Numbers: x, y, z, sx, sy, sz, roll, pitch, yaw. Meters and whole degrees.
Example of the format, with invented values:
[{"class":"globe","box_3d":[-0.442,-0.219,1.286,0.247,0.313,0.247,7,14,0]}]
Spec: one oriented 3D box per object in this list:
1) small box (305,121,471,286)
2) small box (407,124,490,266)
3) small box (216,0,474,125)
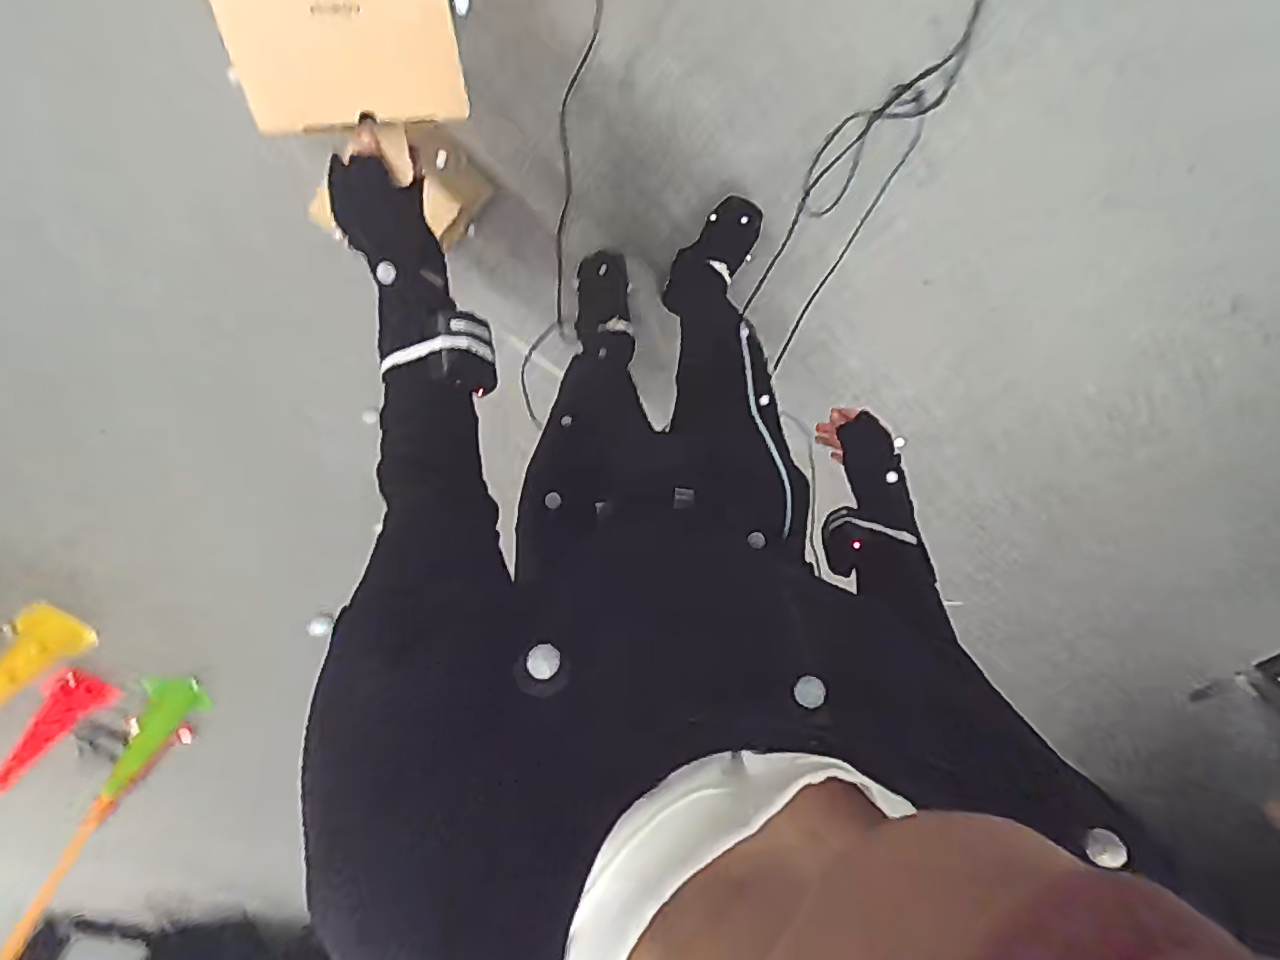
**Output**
[{"class":"small box","box_3d":[-0.407,-0.464,0.907,0.179,0.176,0.168,-40,118,21]},{"class":"small box","box_3d":[-0.414,-0.555,1.044,0.179,0.176,0.168,38,114,-27]},{"class":"small box","box_3d":[-0.245,-0.407,0.453,0.168,0.176,0.179,-12,127,-12]}]
